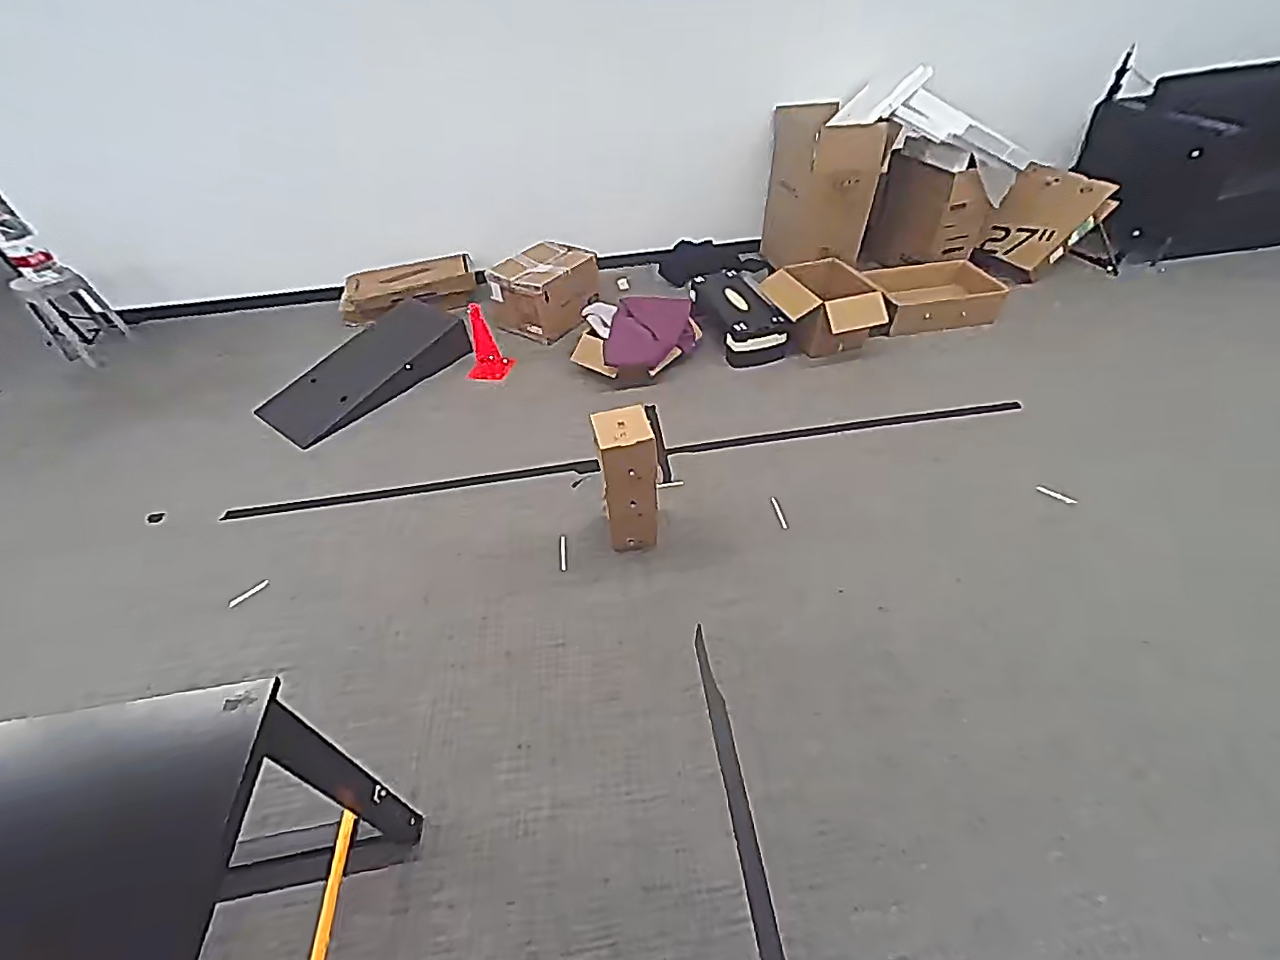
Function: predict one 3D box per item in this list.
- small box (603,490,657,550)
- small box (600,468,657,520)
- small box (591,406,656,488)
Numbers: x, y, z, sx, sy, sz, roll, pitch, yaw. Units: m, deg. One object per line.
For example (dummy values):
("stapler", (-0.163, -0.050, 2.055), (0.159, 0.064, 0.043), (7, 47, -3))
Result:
("small box", (-0.036, 0.122, 1.918), (0.168, 0.176, 0.179), (-10, 46, -4))
("small box", (-0.039, 0.016, 1.792), (0.168, 0.176, 0.179), (-9, 45, -4))
("small box", (-0.051, -0.102, 1.675), (0.168, 0.176, 0.179), (-13, 45, -7))
